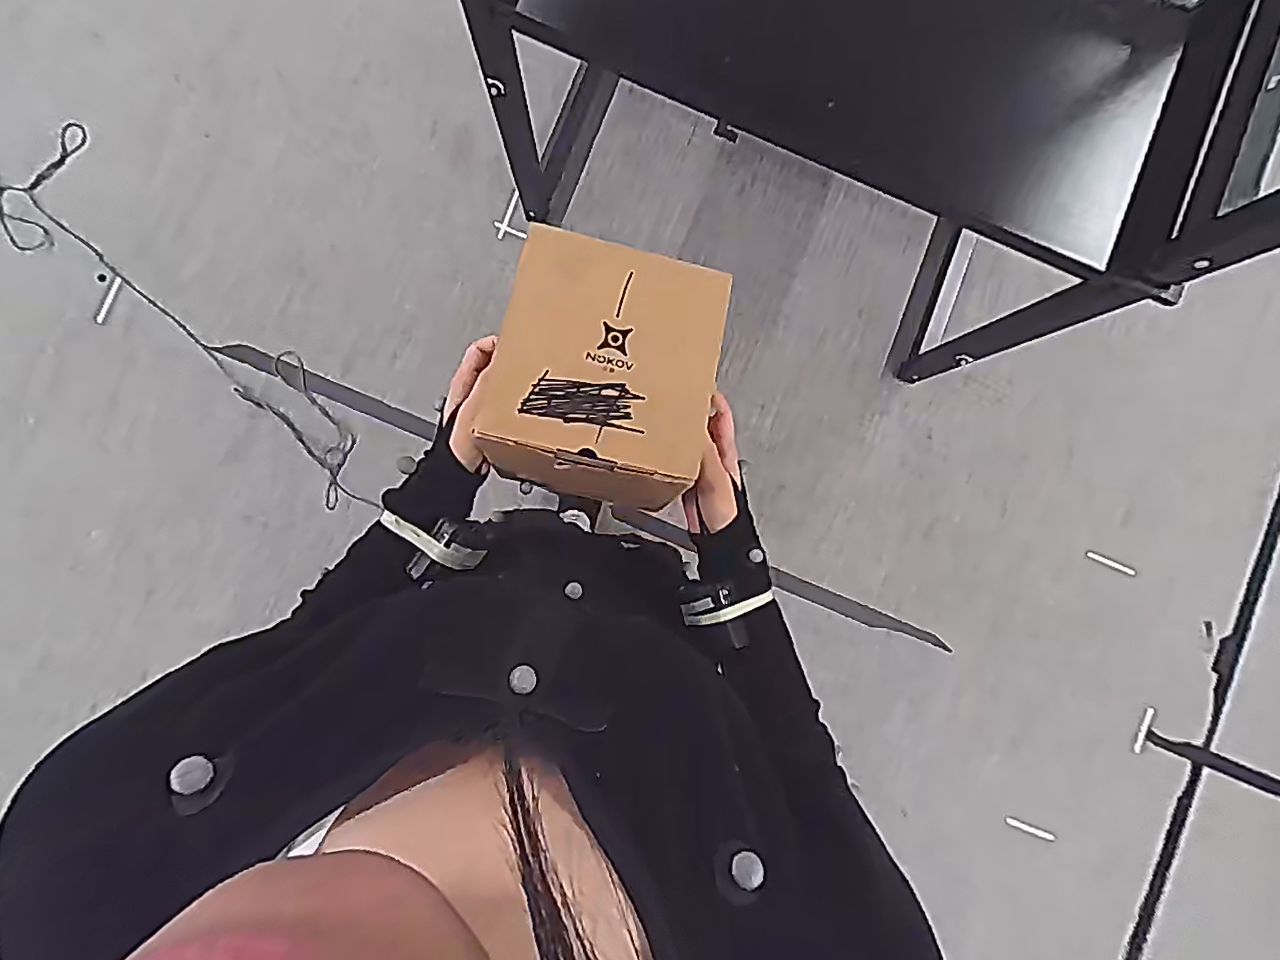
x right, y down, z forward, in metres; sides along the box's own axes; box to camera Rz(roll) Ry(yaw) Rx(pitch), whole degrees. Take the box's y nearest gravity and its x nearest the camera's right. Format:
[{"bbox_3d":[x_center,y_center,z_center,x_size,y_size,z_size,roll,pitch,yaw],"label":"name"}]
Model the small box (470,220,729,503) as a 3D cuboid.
[{"bbox_3d":[-0.035,-0.085,0.480,0.168,0.176,0.179,12,78,-6],"label":"small box"}]
